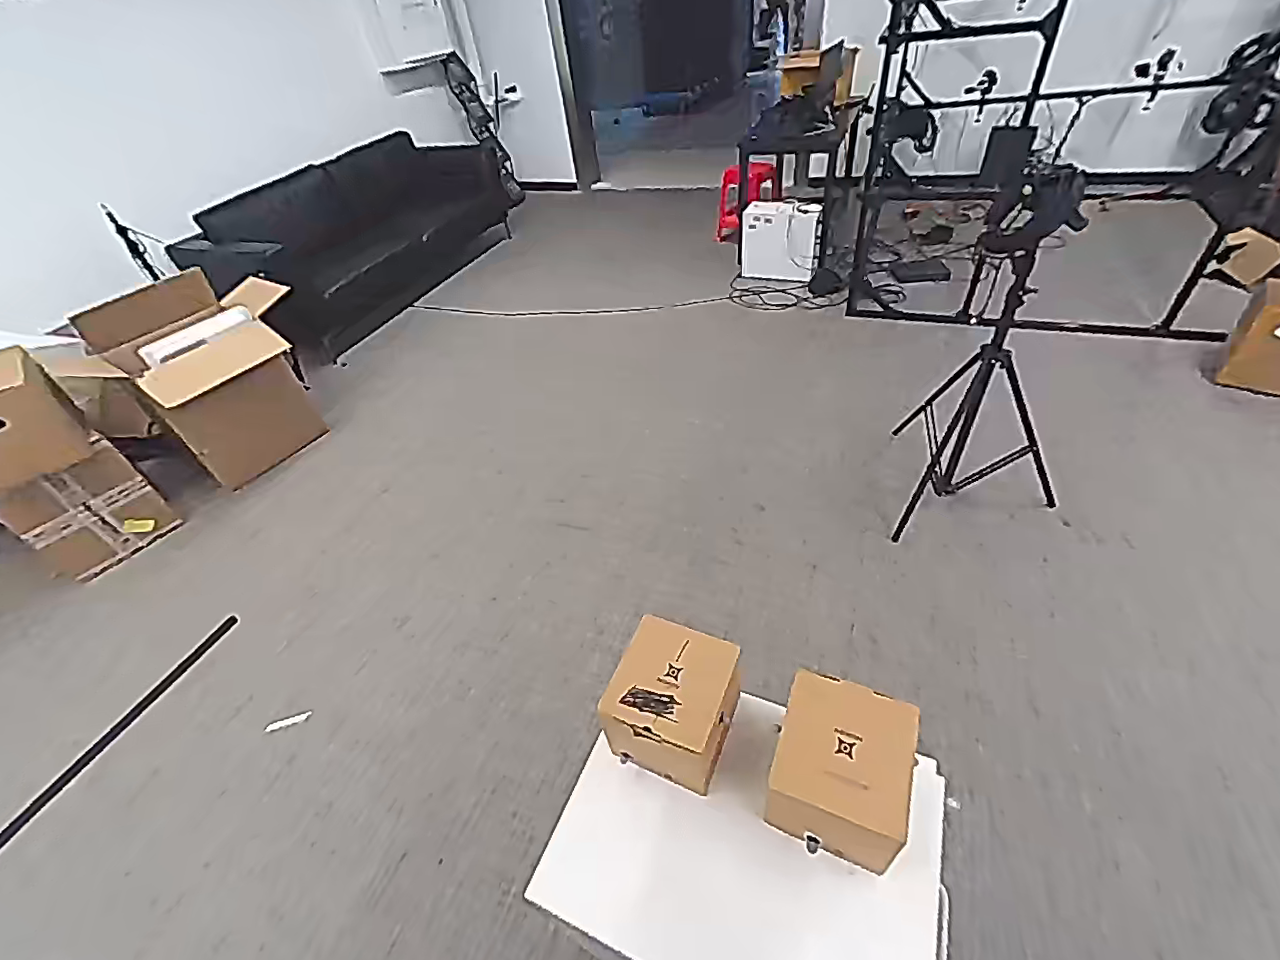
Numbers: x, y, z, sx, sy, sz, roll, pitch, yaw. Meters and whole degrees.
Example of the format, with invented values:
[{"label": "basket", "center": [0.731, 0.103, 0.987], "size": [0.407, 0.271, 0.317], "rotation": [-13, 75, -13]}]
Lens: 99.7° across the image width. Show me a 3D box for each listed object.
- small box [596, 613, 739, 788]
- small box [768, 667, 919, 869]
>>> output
[{"label": "small box", "center": [0.054, 0.348, 0.854], "size": [0.168, 0.176, 0.179], "rotation": [14, 47, 22]}, {"label": "small box", "center": [0.279, 0.403, 0.761], "size": [0.168, 0.176, 0.179], "rotation": [11, 48, 23]}]
